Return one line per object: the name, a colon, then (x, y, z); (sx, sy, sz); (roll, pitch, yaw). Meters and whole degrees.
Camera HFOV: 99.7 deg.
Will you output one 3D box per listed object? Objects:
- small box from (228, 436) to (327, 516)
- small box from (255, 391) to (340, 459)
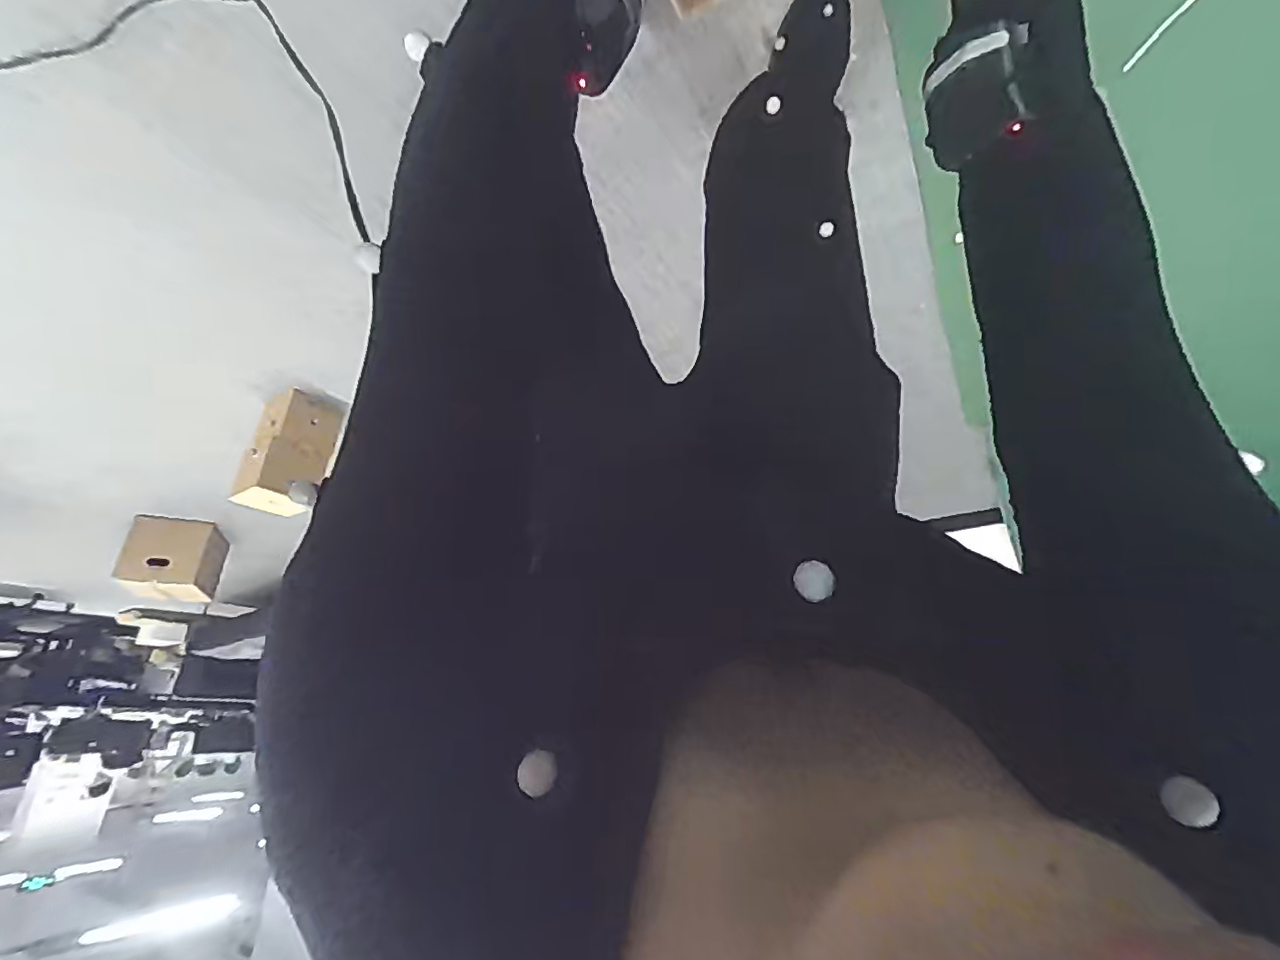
small box: (-1.081, -0.010, 1.624); (0.168, 0.176, 0.179); (-17, 150, 29)
small box: (-1.071, -0.156, 1.697); (0.179, 0.176, 0.168); (-16, 151, 30)
